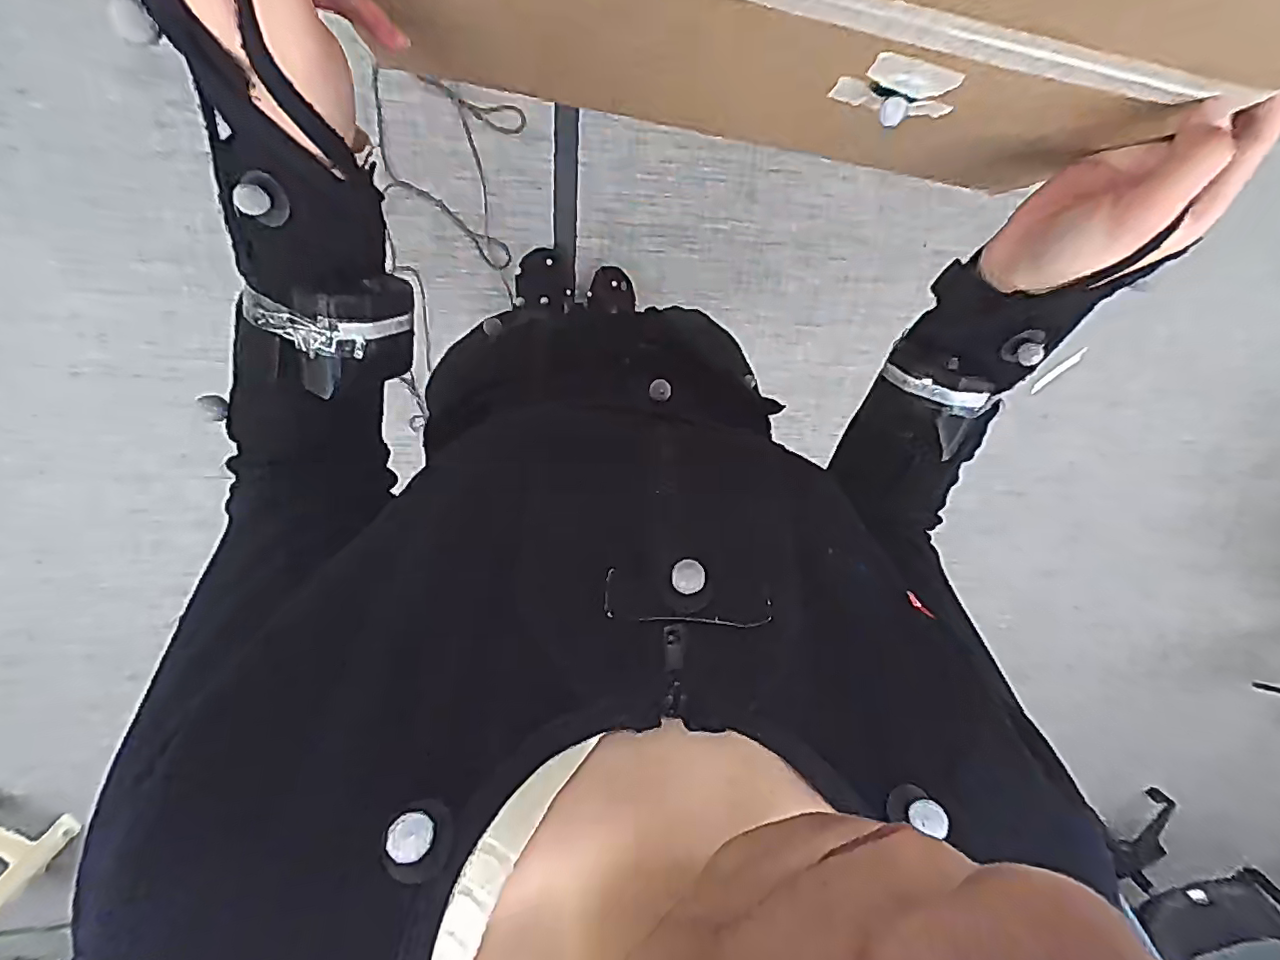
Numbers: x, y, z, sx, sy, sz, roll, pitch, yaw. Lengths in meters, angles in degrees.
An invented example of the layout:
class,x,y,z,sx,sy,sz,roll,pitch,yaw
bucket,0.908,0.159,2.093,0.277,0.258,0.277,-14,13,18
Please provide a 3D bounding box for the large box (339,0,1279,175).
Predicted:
class,x,y,z,sx,sy,sz,roll,pitch,yaw
large box,0.077,-0.333,0.163,0.408,0.320,0.320,6,106,-7
